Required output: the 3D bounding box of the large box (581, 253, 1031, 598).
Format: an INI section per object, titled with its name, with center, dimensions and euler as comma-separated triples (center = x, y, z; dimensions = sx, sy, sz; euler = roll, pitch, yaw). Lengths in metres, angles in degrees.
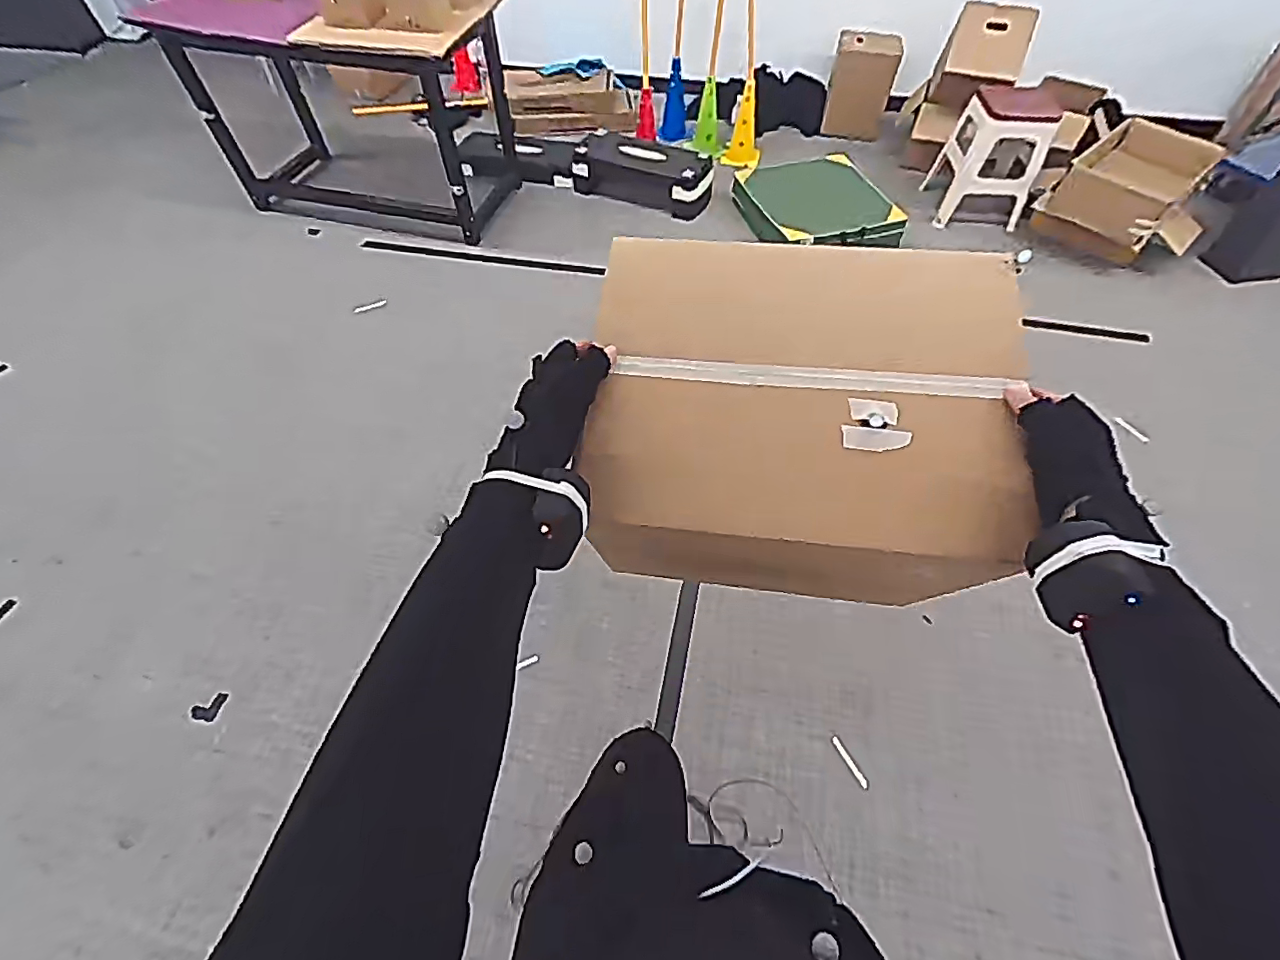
[large box]
center = 0.167, -0.045, 0.669
dimensions = 0.408, 0.320, 0.320
euler = 5, 72, 7
